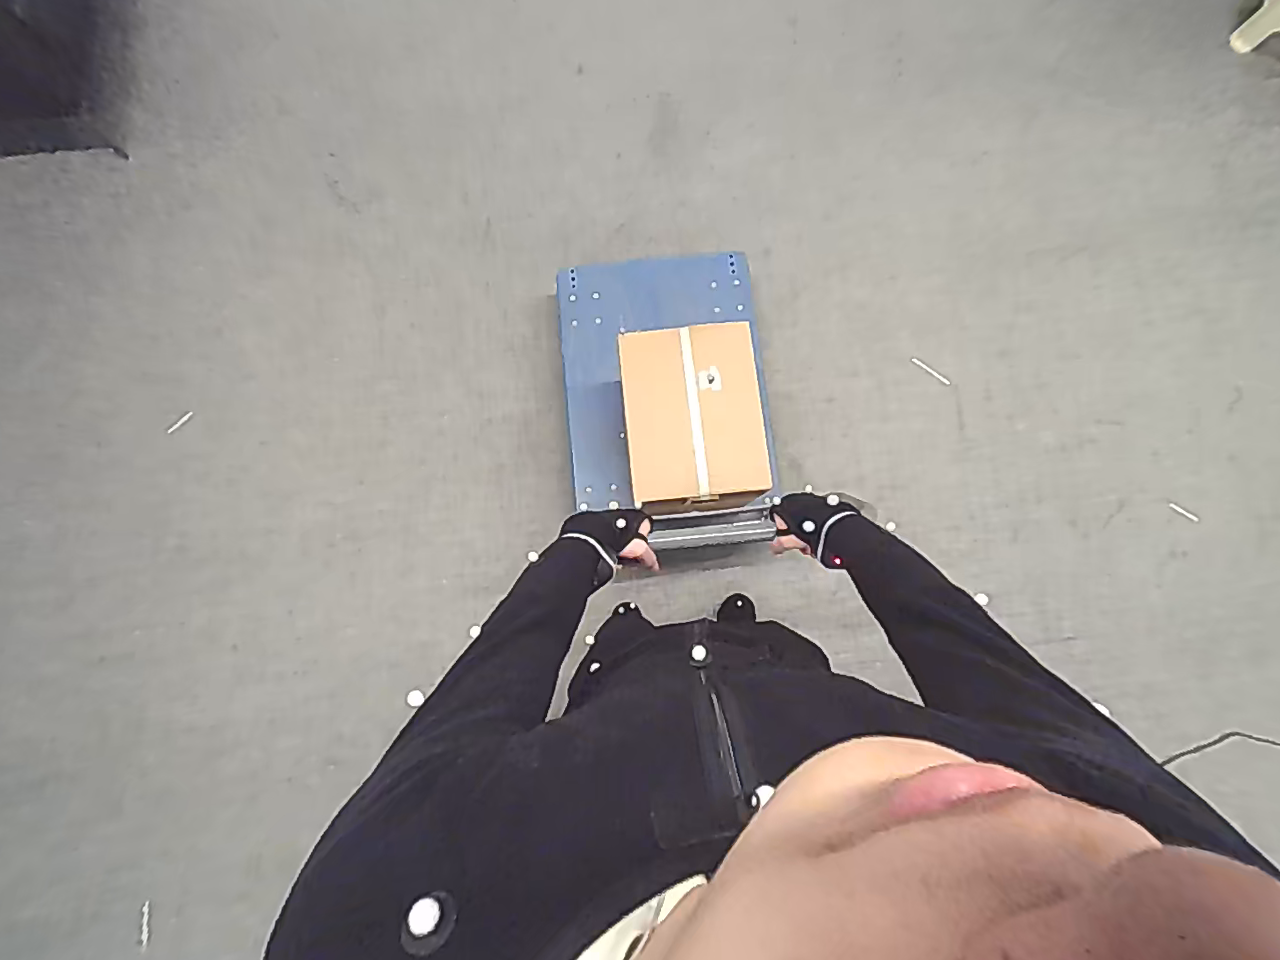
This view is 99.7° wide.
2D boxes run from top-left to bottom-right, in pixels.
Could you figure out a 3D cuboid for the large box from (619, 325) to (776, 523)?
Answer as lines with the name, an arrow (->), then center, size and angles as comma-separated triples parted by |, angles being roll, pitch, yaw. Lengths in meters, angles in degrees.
large box -> 0.127, -0.122, 1.362 | 0.320, 0.320, 0.408 | -6, 79, -2
